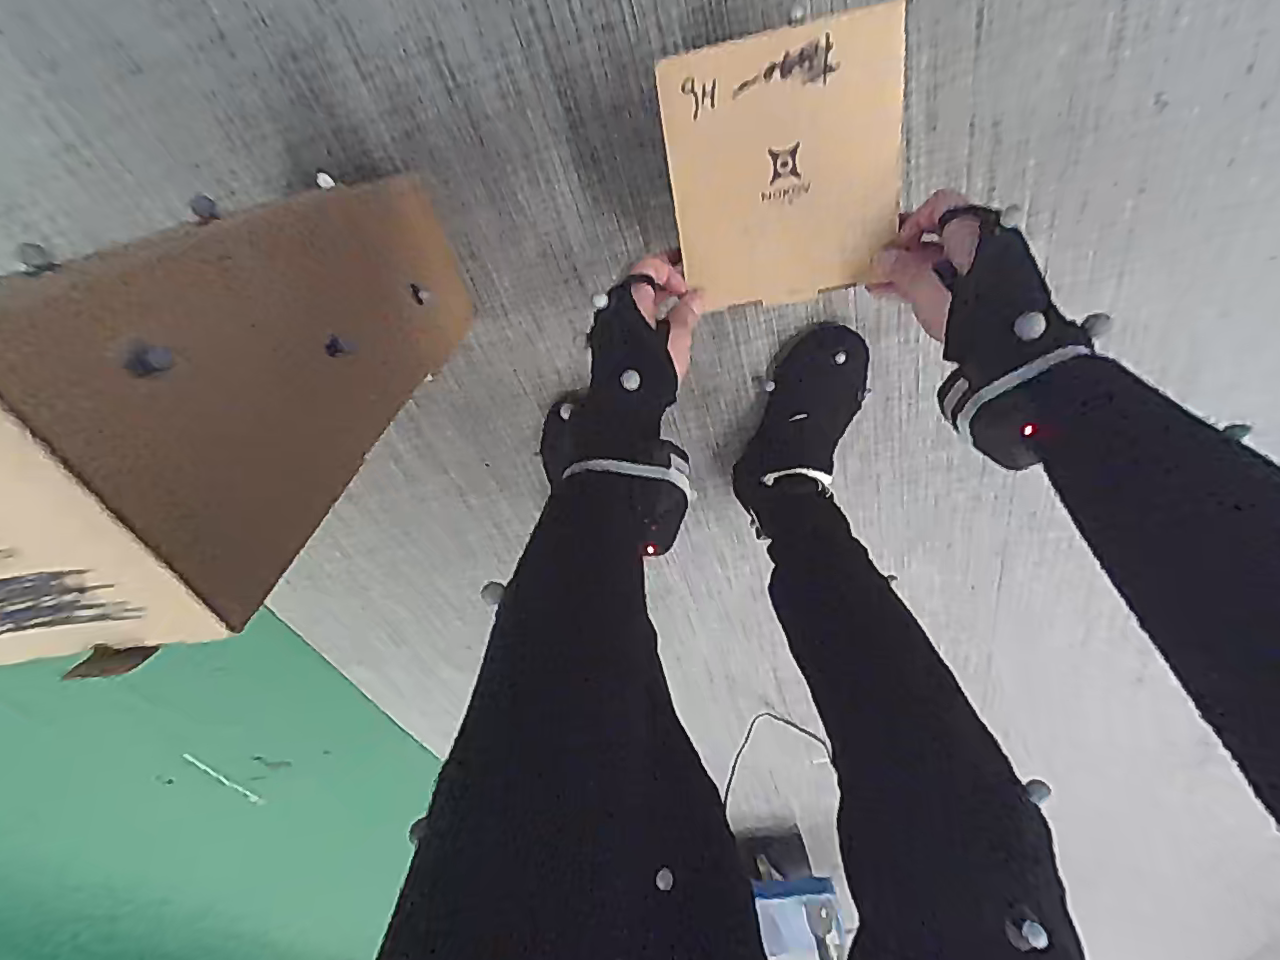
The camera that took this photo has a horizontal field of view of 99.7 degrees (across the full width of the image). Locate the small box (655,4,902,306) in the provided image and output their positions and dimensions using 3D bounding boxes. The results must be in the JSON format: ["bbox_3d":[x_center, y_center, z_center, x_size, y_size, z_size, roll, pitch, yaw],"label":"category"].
[{"bbox_3d":[0.110,-0.270,0.472,0.168,0.176,0.179,-7,121,8],"label":"small box"}]

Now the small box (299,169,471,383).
[{"bbox_3d":[-0.306,-0.215,0.587,0.168,0.176,0.179,-9,125,8],"label":"small box"}]
